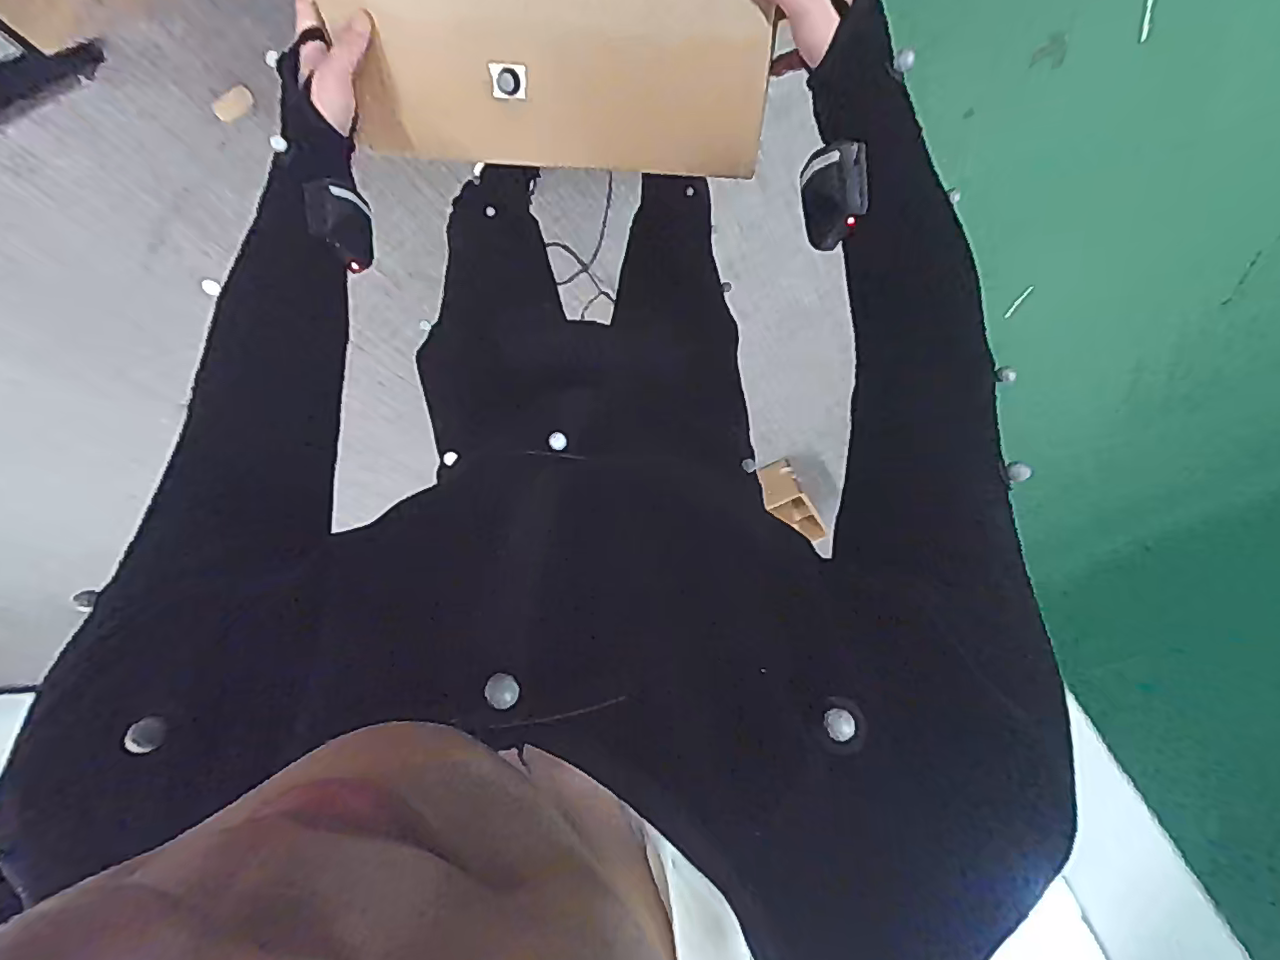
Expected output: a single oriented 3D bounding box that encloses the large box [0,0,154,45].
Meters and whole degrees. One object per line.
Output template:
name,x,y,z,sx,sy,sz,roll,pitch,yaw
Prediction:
large box,-0.840,-0.878,0.670,0.320,0.320,0.408,-29,135,19
